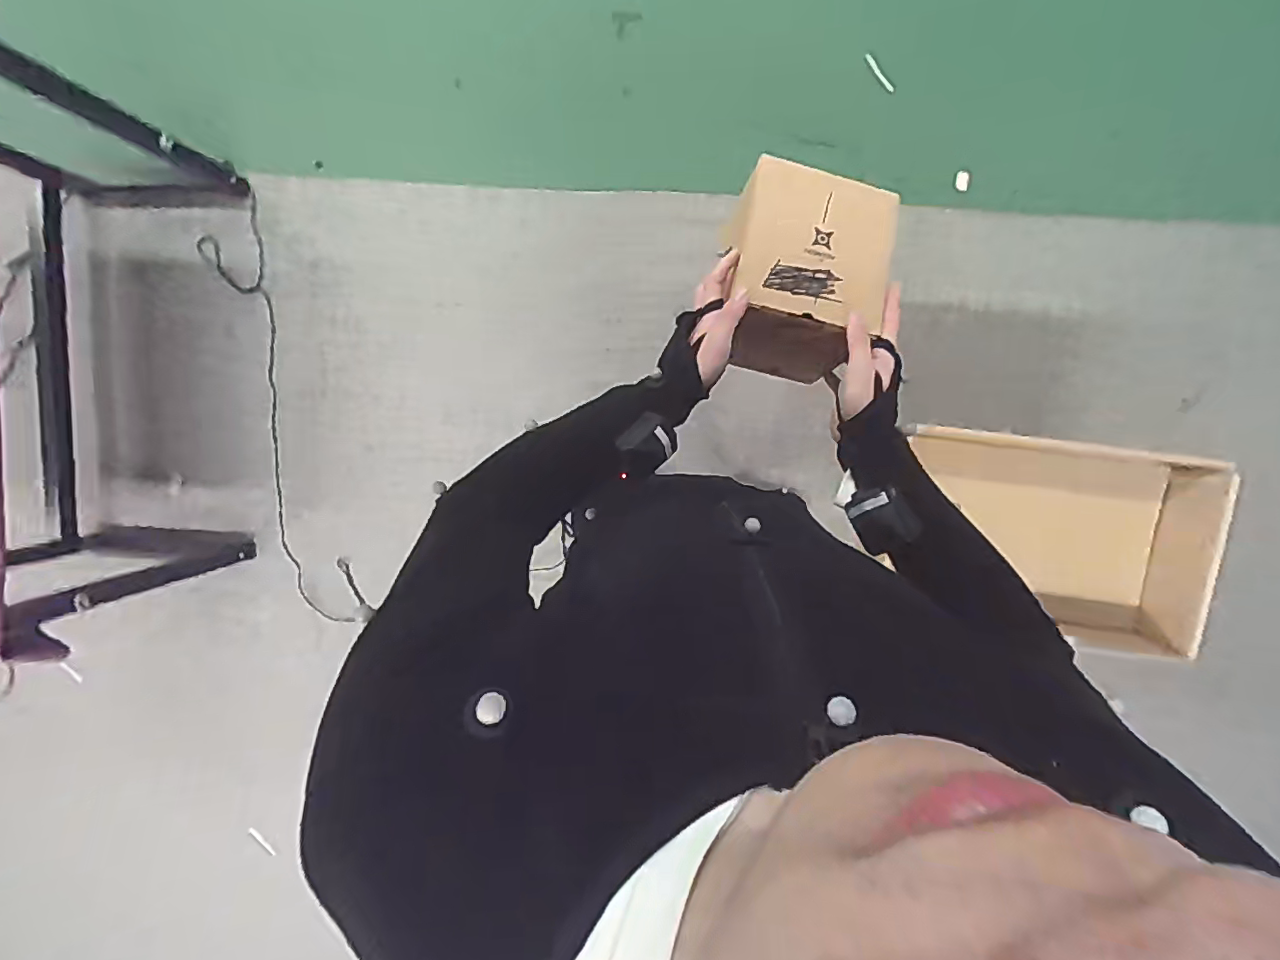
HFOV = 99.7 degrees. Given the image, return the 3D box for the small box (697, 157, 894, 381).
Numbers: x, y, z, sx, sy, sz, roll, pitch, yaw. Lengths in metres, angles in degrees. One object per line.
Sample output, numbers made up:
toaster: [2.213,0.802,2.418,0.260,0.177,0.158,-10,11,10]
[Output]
small box: [0.174,-0.237,0.653,0.168,0.176,0.179,12,80,-5]
